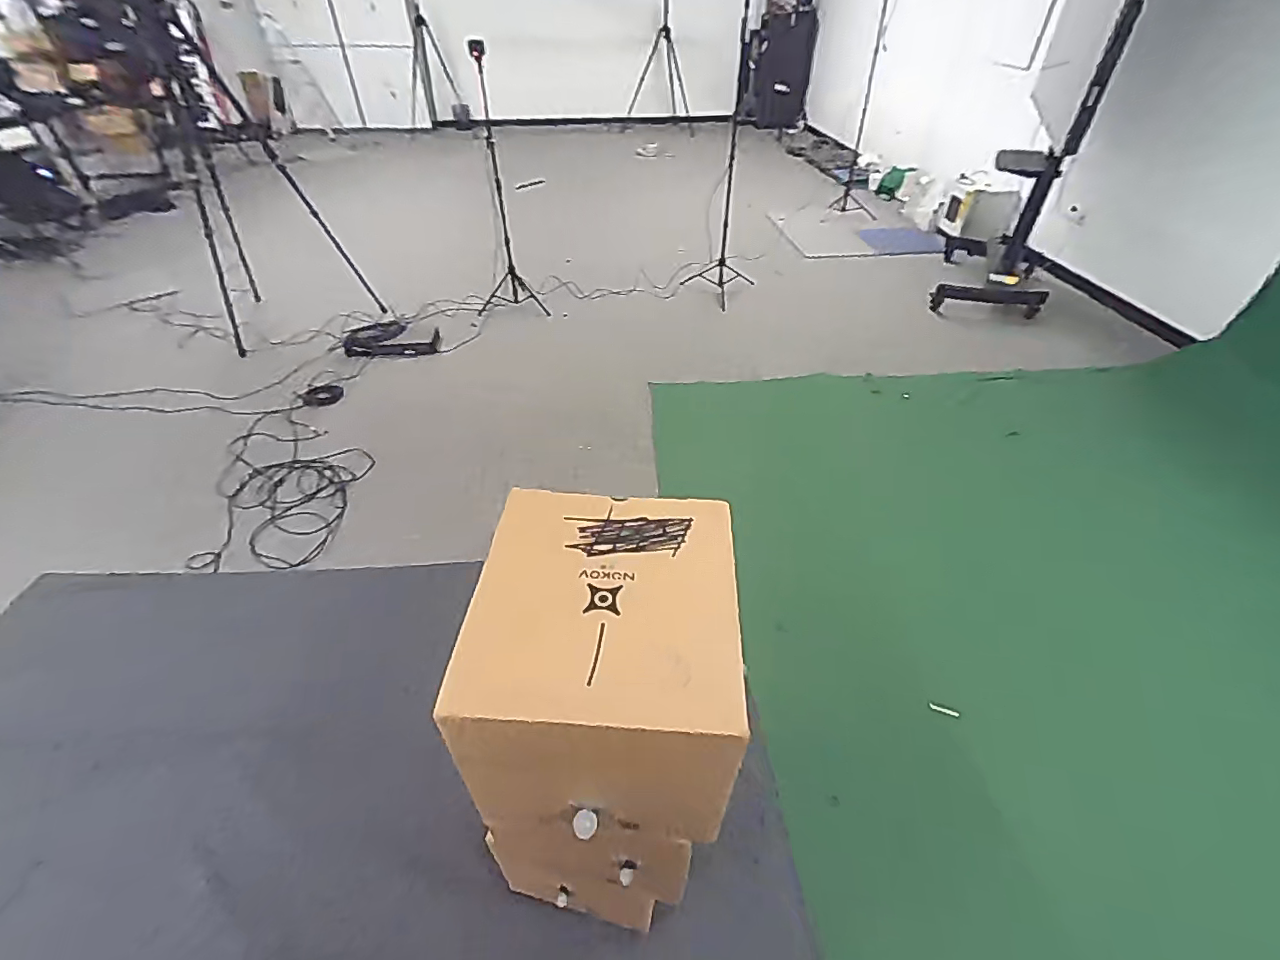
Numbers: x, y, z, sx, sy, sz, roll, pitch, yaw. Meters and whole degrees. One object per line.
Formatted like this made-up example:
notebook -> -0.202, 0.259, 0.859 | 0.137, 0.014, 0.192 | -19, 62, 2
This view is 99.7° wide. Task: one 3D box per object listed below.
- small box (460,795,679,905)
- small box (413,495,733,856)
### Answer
small box -> -0.038, 0.253, 0.494 | 0.168, 0.176, 0.179 | 7, 40, 7
small box -> -0.030, 0.133, 0.382 | 0.168, 0.176, 0.179 | 3, 41, 3
